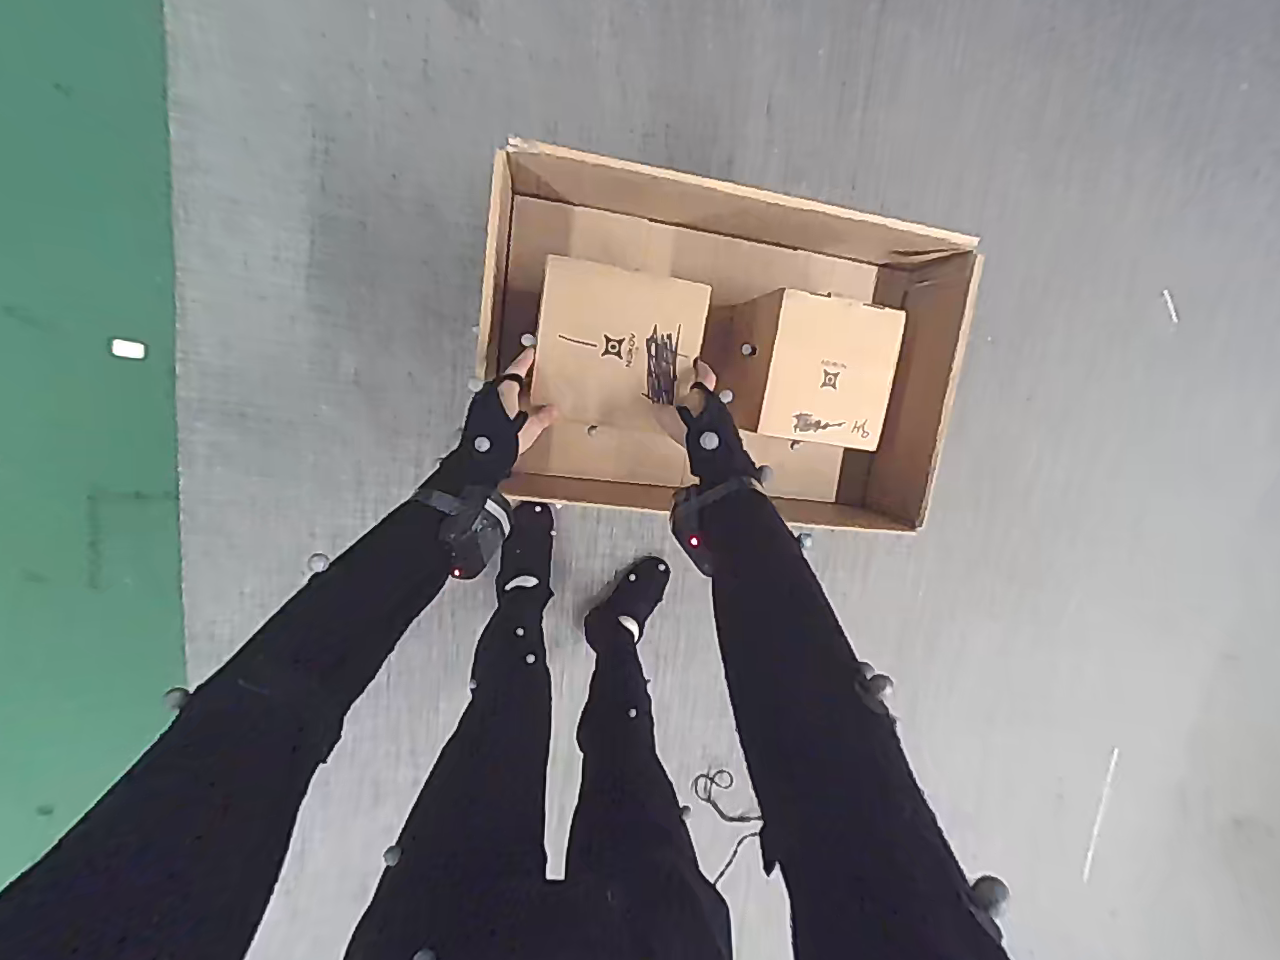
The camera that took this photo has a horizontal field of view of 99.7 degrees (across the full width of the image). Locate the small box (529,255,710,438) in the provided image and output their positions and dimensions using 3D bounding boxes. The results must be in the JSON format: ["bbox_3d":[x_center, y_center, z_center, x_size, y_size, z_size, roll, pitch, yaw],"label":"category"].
[{"bbox_3d":[-0.035,-0.147,0.649,0.179,0.176,0.168,7,95,-12],"label":"small box"}]
